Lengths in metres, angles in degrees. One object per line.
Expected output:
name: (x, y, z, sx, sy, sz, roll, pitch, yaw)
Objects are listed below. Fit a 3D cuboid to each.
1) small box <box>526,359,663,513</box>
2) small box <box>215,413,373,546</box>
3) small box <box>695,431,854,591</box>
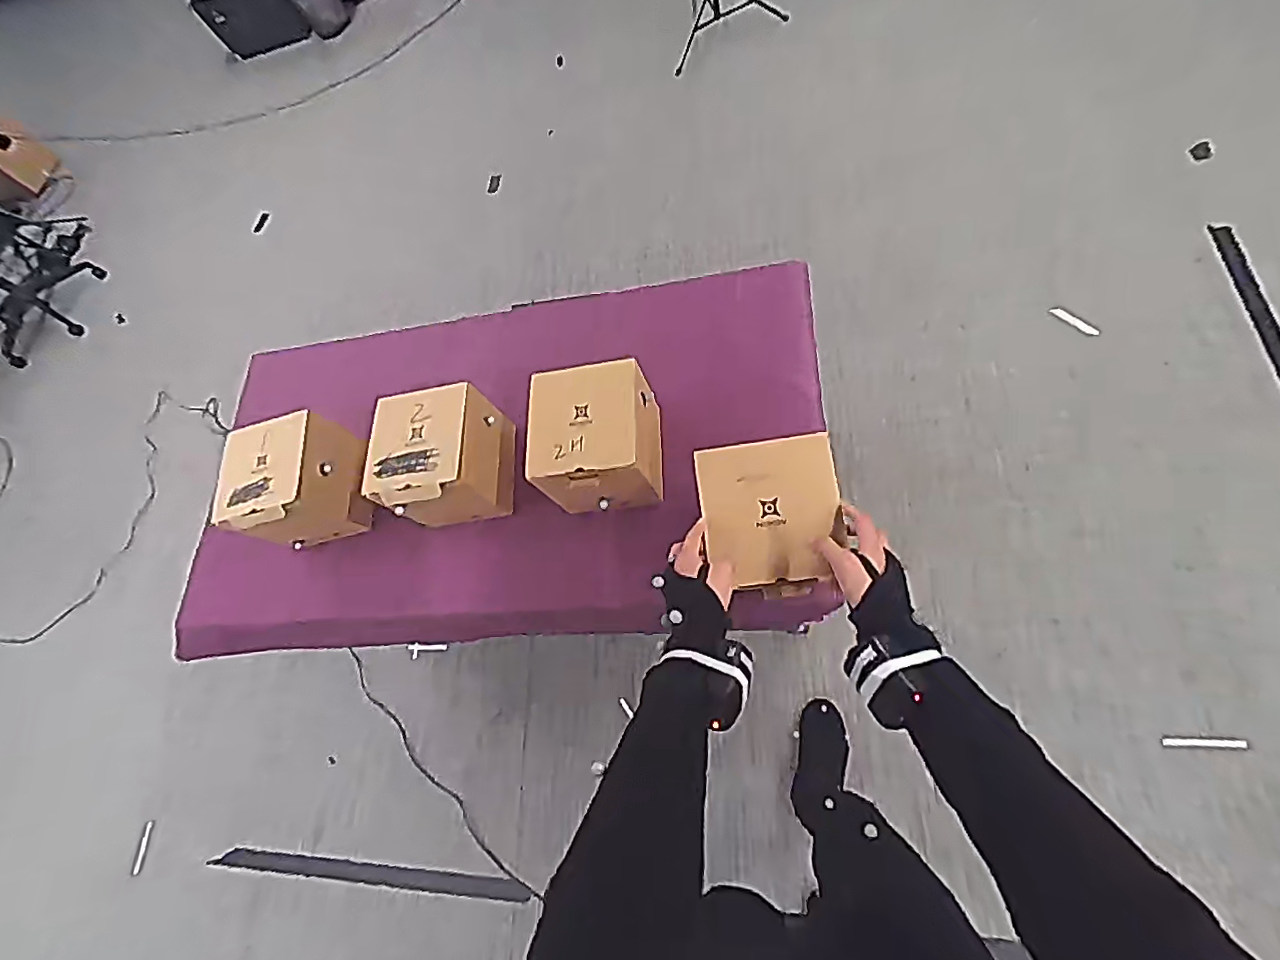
small box: (-0.062, -0.060, 0.842, 0.168, 0.176, 0.179, -7, 69, 13)
small box: (-0.602, 0.010, 0.964, 0.168, 0.176, 0.179, -14, 66, 9)
small box: (0.171, 0.051, 0.717, 0.168, 0.176, 0.179, -8, 76, 8)
